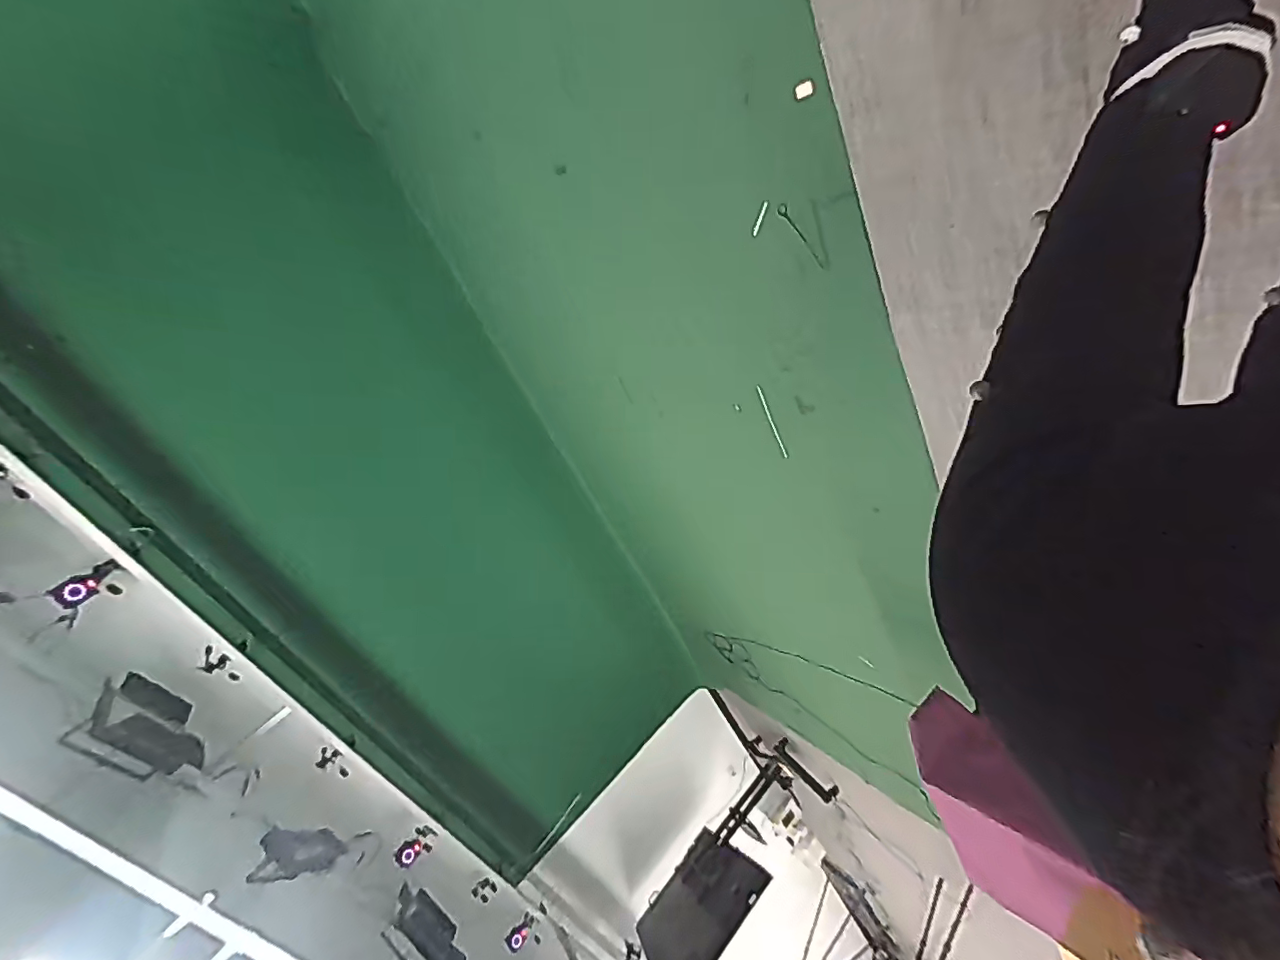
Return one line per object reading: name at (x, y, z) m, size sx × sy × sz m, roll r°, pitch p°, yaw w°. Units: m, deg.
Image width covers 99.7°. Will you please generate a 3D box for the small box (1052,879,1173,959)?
small box at (1.112, 1.098, 1.267) m, size 0.179 × 0.176 × 0.168 m, roll 13°, pitch 138°, yaw 57°
